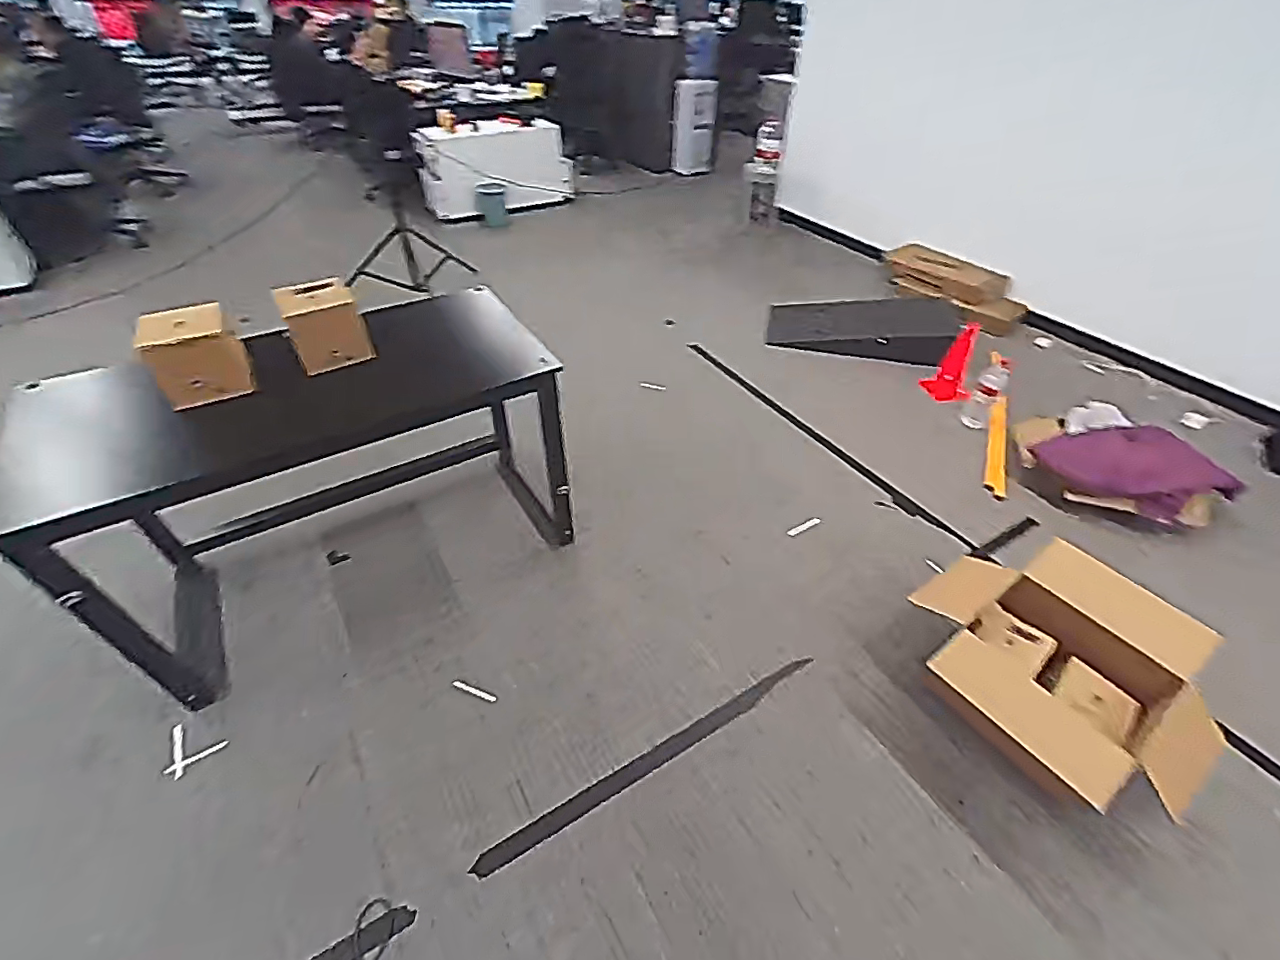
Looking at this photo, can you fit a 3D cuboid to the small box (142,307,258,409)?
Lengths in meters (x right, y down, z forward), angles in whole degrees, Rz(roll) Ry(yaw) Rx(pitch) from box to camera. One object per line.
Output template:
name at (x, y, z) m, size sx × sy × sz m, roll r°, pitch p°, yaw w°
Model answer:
small box at (-1.070, -0.300, 1.327) m, size 0.168 × 0.176 × 0.179 m, roll -22°, pitch 48°, yaw -23°
